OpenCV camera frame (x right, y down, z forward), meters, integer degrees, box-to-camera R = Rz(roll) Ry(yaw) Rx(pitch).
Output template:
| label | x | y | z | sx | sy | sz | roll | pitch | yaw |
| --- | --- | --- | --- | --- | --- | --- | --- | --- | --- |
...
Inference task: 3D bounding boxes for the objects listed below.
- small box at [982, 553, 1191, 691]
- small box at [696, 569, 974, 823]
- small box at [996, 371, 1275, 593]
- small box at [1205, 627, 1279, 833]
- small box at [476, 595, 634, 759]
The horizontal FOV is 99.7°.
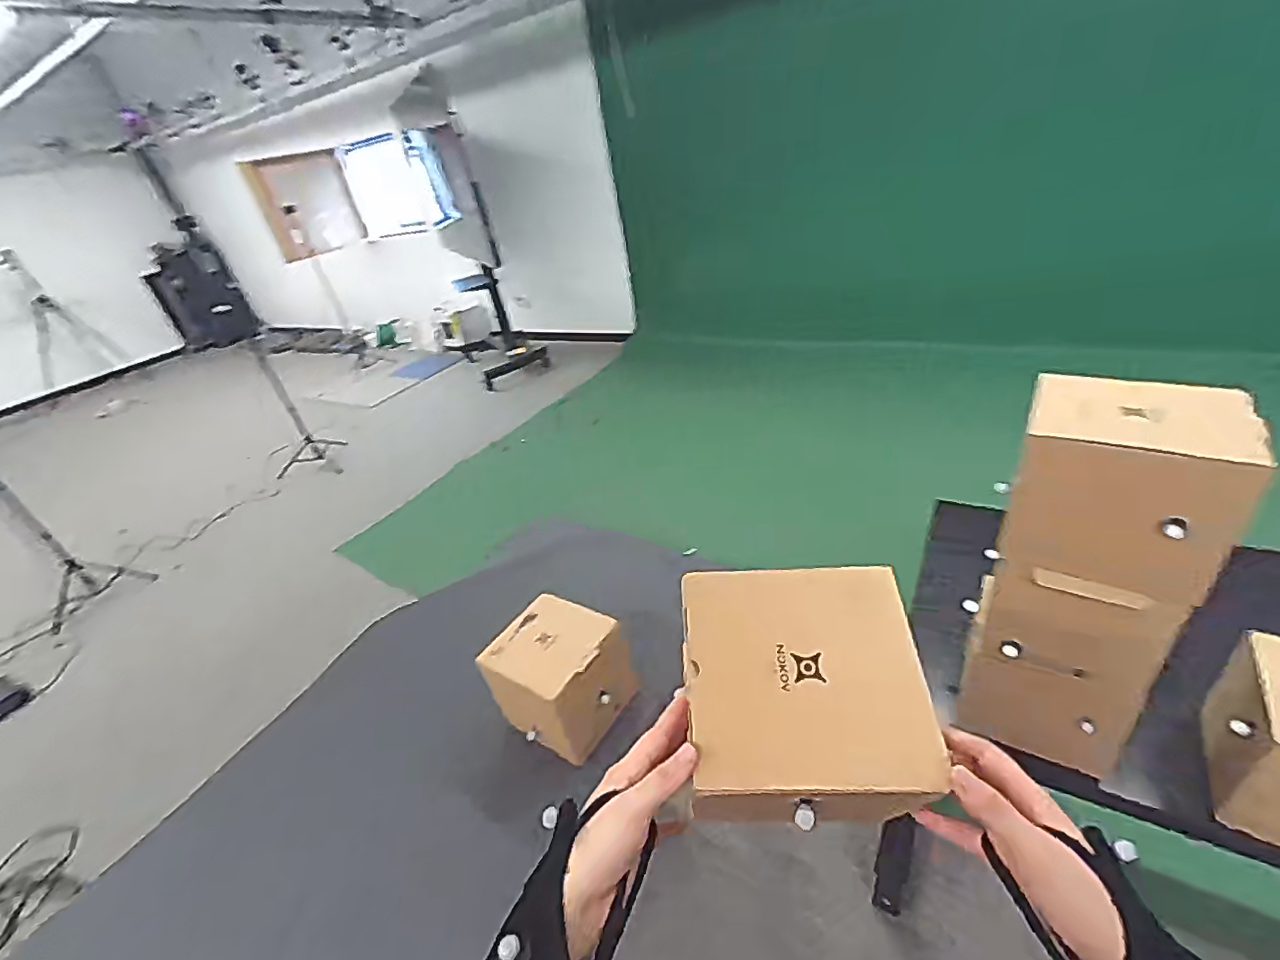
| label | x | y | z | sx | sy | sz | roll | pitch | yaw |
| --- | --- | --- | --- | --- | --- | --- | --- | --- | --- |
| small box | 0.546 | 0.127 | 0.680 | 0.168 | 0.176 | 0.179 | 13 | 39 | 33 |
| small box | 0.138 | 0.188 | 0.462 | 0.179 | 0.176 | 0.168 | -3 | 53 | 5 |
| small box | 0.514 | -0.003 | 0.587 | 0.179 | 0.176 | 0.168 | 13 | 38 | 34 |
| small box | 0.797 | 0.310 | 0.620 | 0.168 | 0.176 | 0.179 | 13 | 40 | 34 |
| small box | -0.131 | 0.328 | 0.901 | 0.179 | 0.176 | 0.168 | 11 | 40 | 35 |
